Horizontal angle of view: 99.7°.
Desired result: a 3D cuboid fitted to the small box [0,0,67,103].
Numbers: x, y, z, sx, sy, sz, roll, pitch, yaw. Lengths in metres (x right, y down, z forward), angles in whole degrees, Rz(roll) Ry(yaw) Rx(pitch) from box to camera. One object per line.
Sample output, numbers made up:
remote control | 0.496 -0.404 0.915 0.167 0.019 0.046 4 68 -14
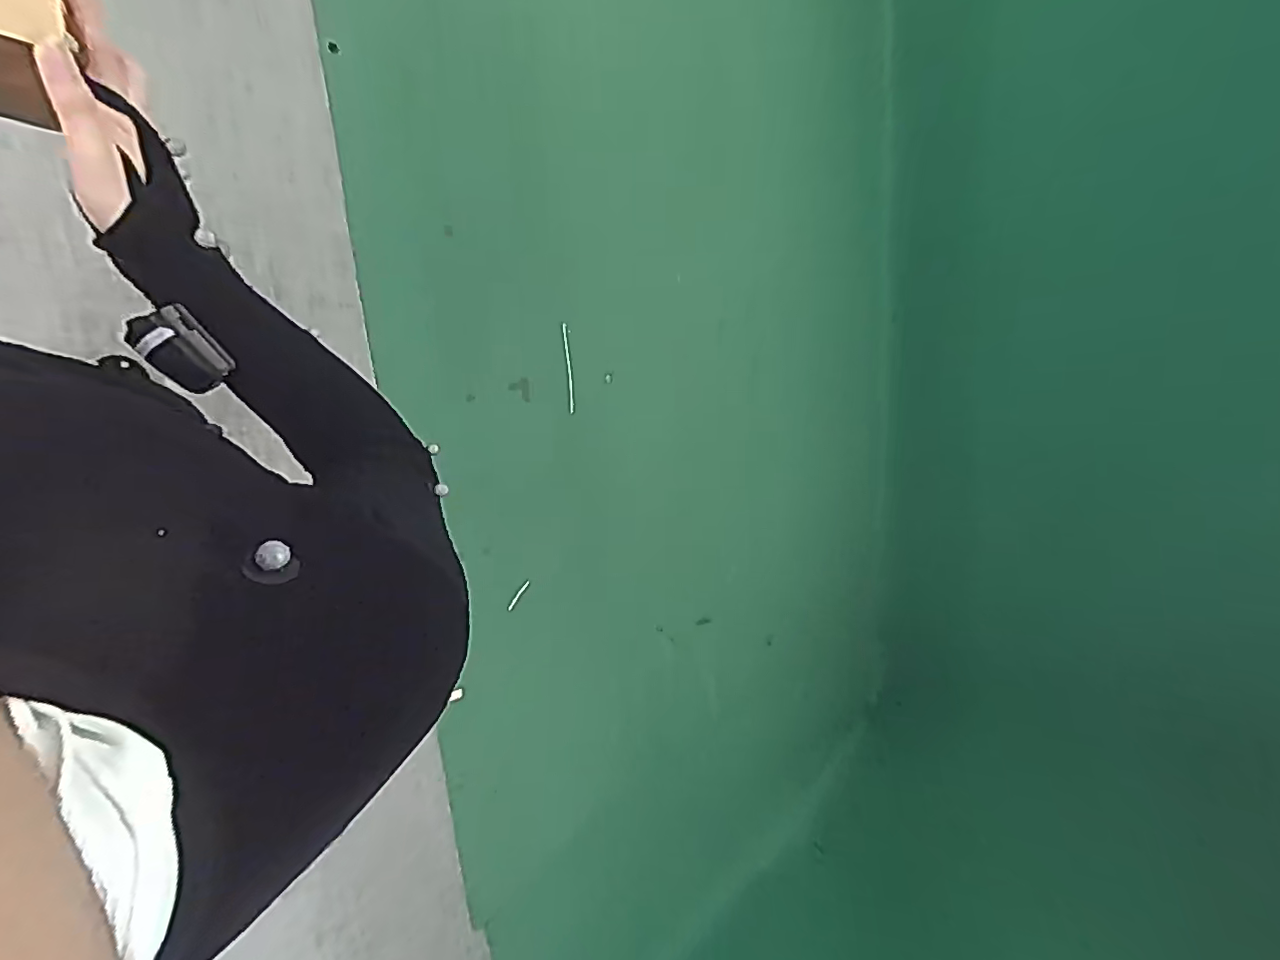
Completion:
small box | -0.462 -0.355 0.308 0.179 0.176 0.168 -8 105 -46
